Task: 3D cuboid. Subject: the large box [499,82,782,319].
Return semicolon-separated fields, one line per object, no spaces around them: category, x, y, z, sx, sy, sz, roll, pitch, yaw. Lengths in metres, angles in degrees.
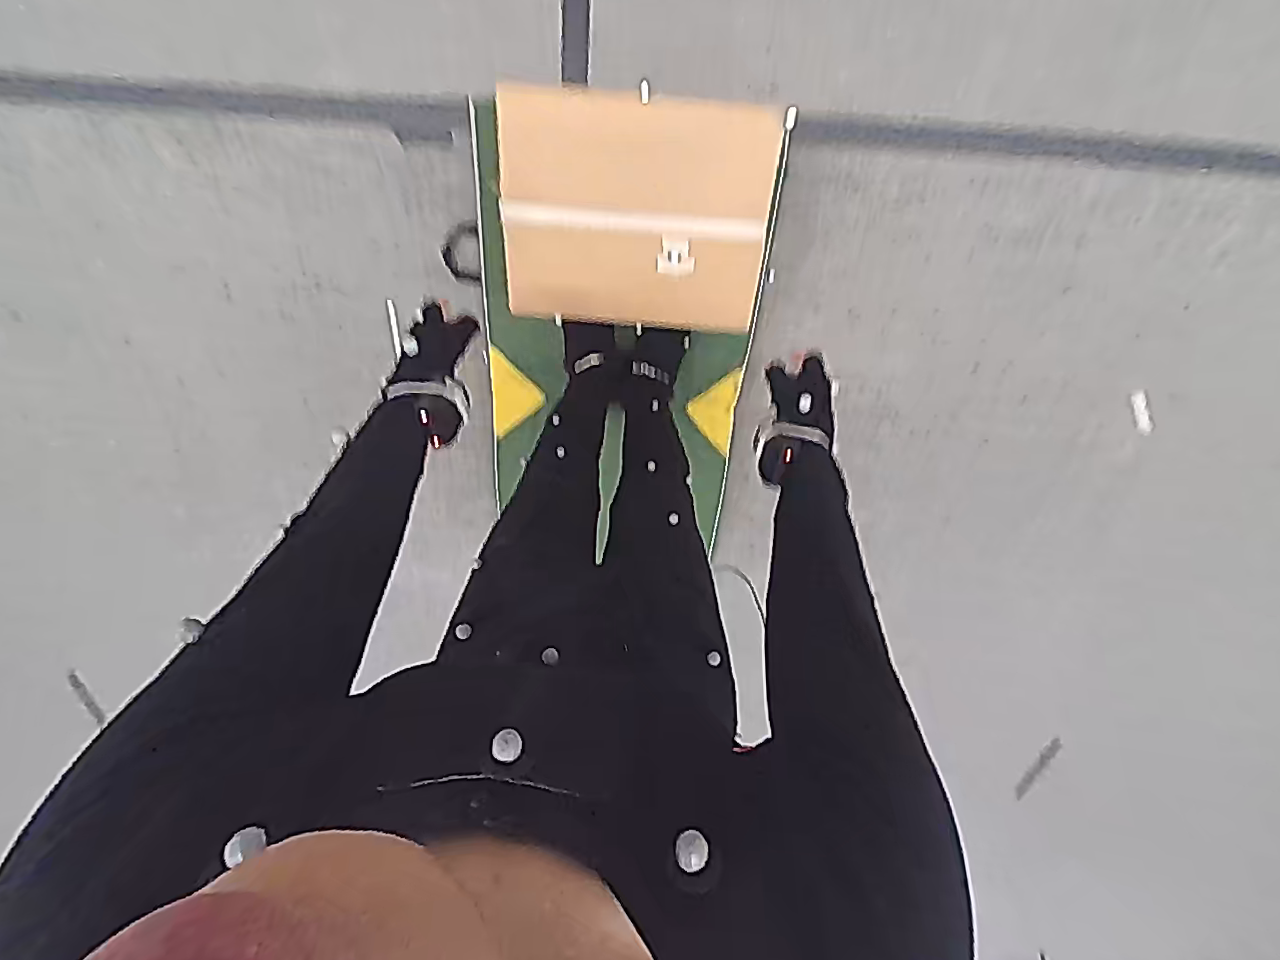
large box;-0.006;-0.489;0.956;0.408;0.320;0.320;3;123;-1
